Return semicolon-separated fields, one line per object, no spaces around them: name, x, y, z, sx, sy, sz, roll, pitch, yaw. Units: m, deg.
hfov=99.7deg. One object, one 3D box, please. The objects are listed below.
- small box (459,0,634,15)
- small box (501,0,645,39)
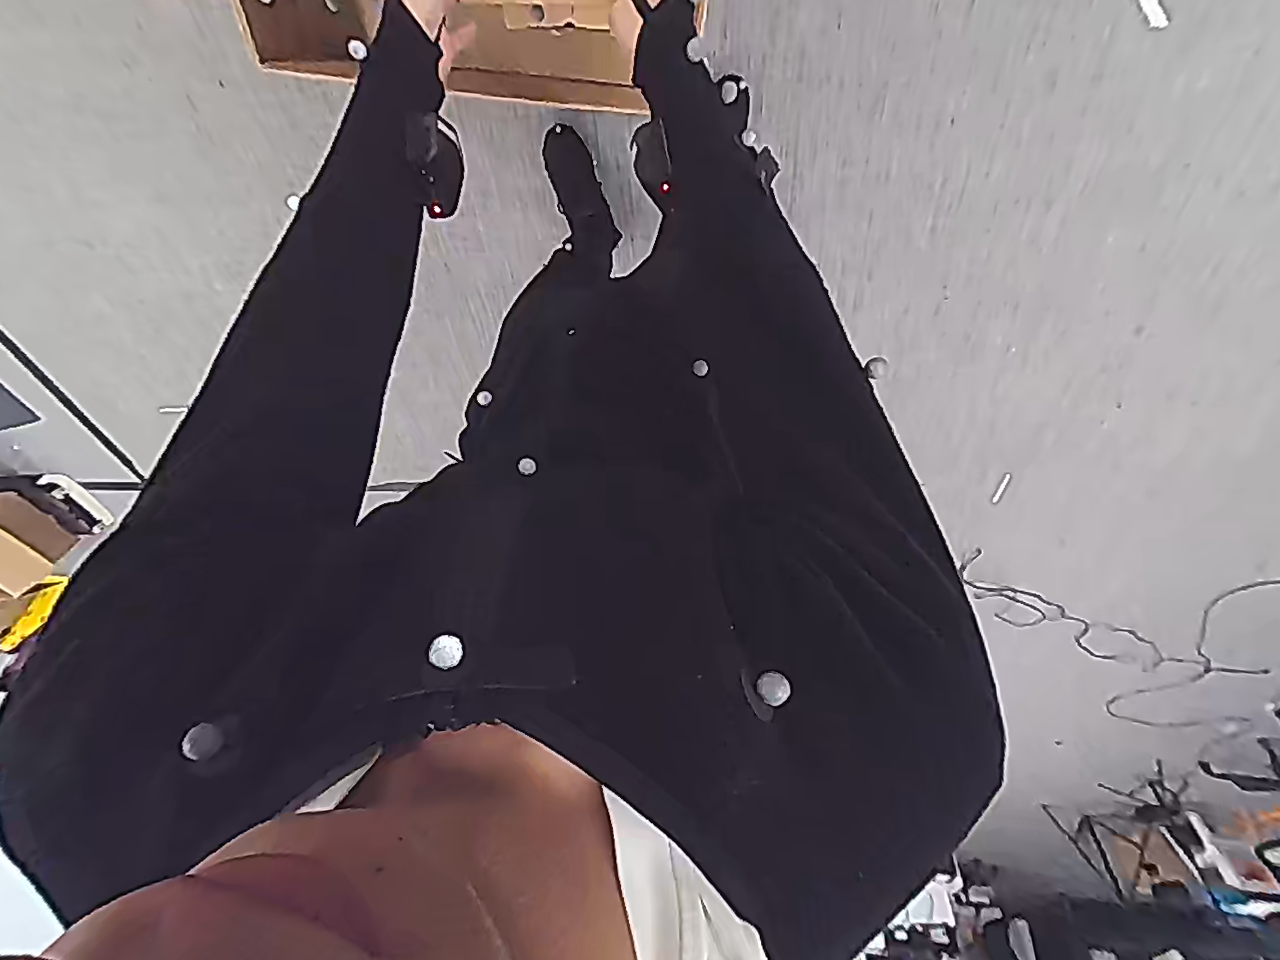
small box;-0.090;-0.581;0.536;0.168;0.176;0.179;4;131;3
small box;-0.079;-0.672;0.672;0.168;0.176;0.179;5;132;2
